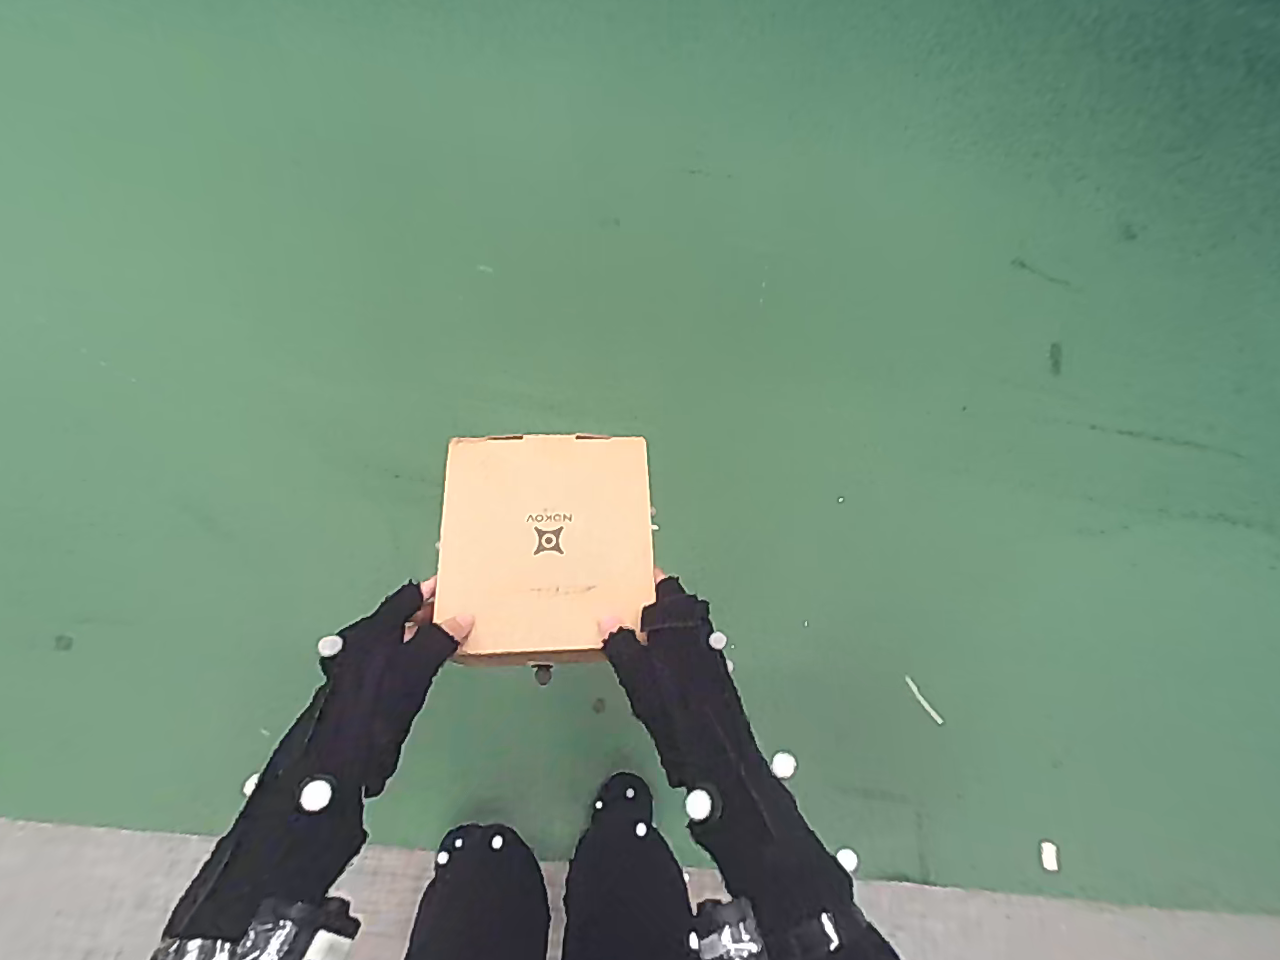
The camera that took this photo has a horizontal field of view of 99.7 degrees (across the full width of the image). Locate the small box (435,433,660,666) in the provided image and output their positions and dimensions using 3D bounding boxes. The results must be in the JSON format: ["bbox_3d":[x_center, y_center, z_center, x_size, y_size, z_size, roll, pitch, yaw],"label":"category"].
[{"bbox_3d":[-0.076,0.071,0.495,0.168,0.176,0.179,-2,70,-5],"label":"small box"}]
